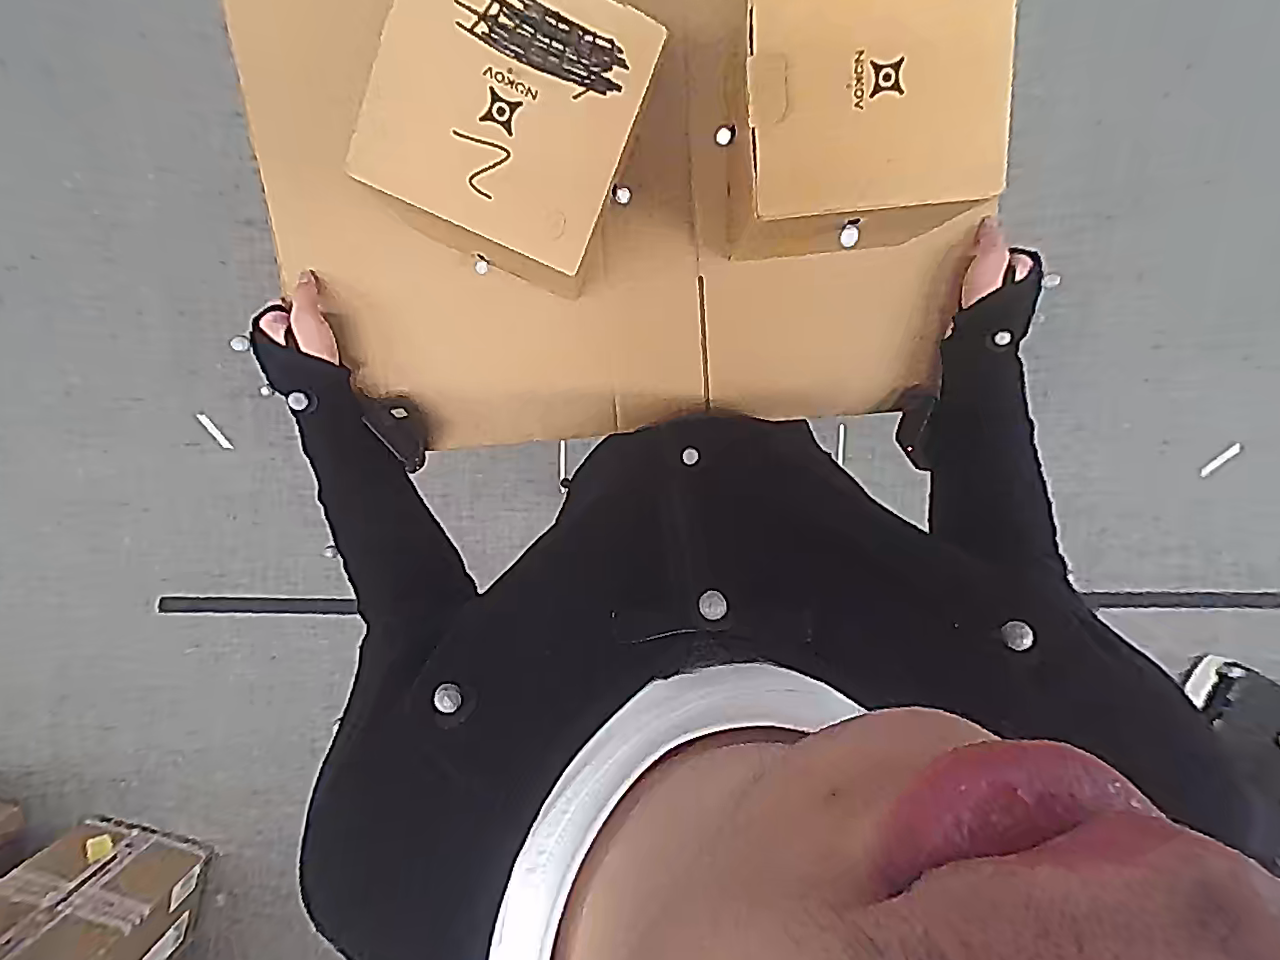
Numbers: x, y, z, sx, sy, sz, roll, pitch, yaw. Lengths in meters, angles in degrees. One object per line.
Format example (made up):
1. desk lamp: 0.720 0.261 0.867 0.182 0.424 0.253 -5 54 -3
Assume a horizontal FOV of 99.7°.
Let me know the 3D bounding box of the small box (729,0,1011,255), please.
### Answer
1. small box: 0.176 -0.300 0.463 0.179 0.176 0.168 -4 102 4
